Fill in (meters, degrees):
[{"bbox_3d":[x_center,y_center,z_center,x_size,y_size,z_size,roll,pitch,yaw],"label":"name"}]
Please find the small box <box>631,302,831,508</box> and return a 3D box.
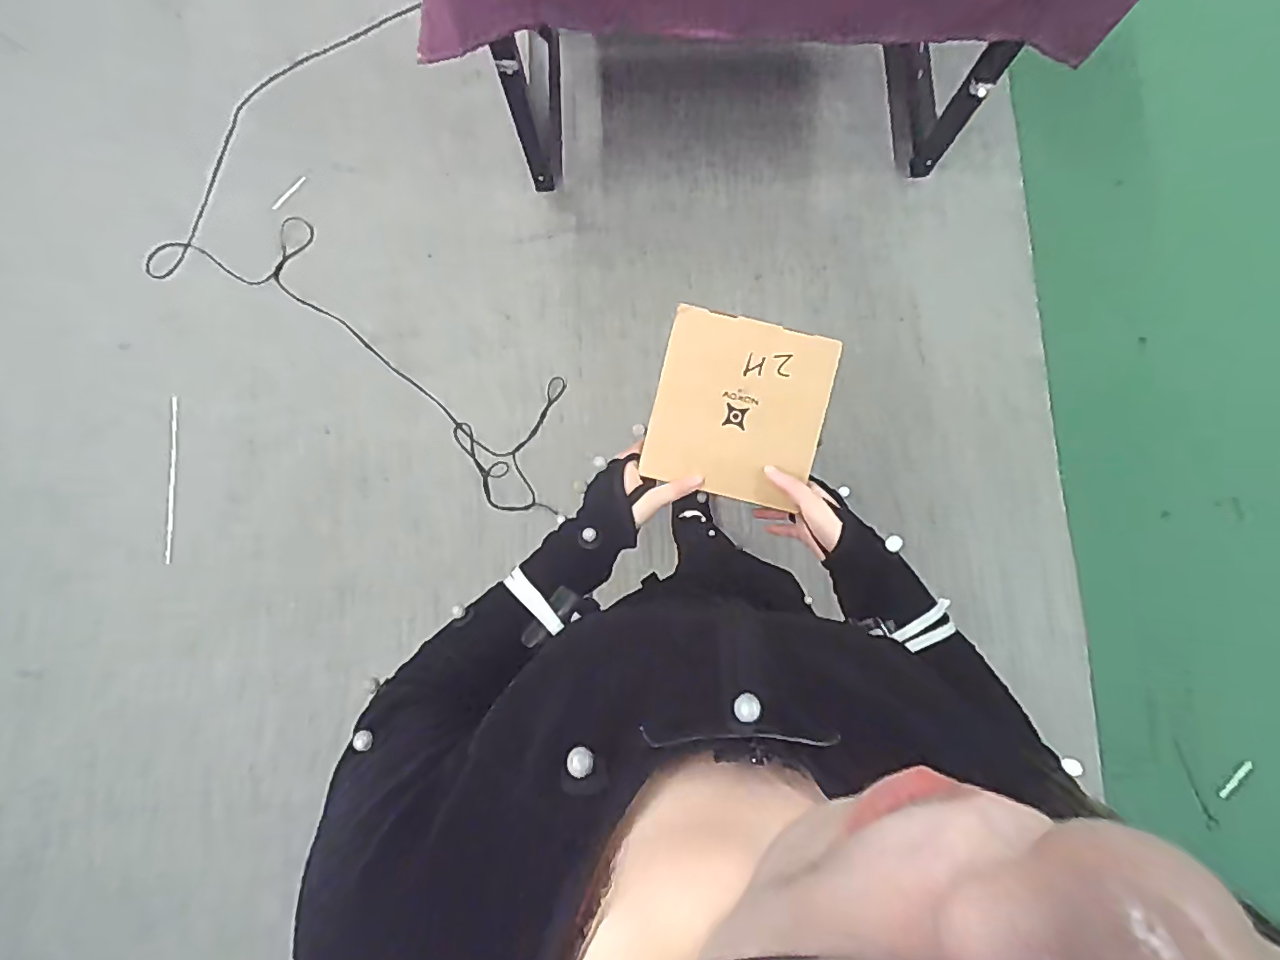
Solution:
[{"bbox_3d":[0.095,-0.078,0.621,0.168,0.176,0.179,14,93,2],"label":"small box"}]
